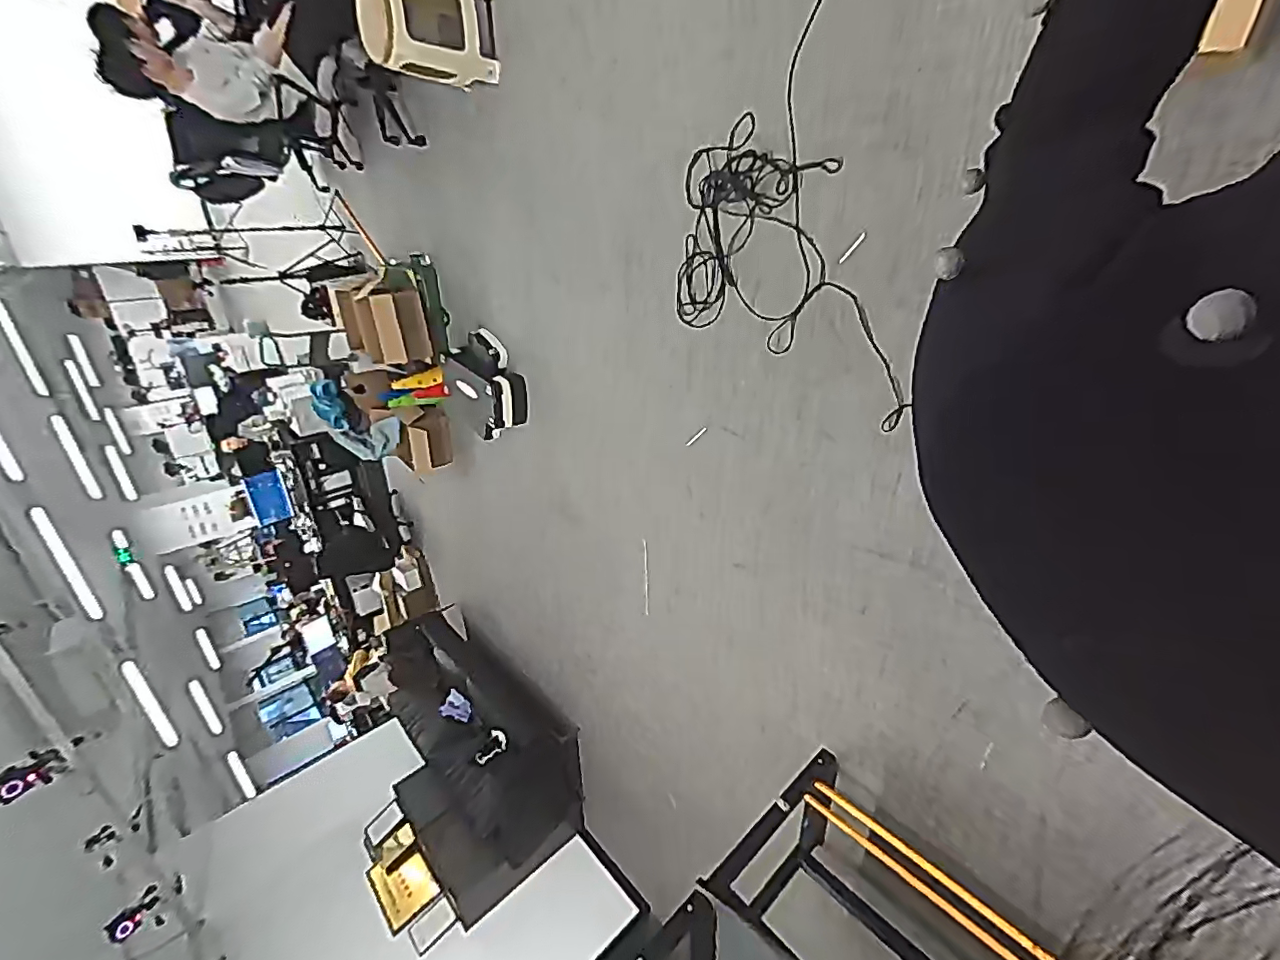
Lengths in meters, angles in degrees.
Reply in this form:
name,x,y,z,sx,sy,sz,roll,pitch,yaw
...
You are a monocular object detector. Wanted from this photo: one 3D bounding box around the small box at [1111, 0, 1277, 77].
name,x,y,z,sx,sy,sz,roll,pitch,yaw
small box,0.903,-0.777,0.866,0.168,0.176,0.179,26,127,43
